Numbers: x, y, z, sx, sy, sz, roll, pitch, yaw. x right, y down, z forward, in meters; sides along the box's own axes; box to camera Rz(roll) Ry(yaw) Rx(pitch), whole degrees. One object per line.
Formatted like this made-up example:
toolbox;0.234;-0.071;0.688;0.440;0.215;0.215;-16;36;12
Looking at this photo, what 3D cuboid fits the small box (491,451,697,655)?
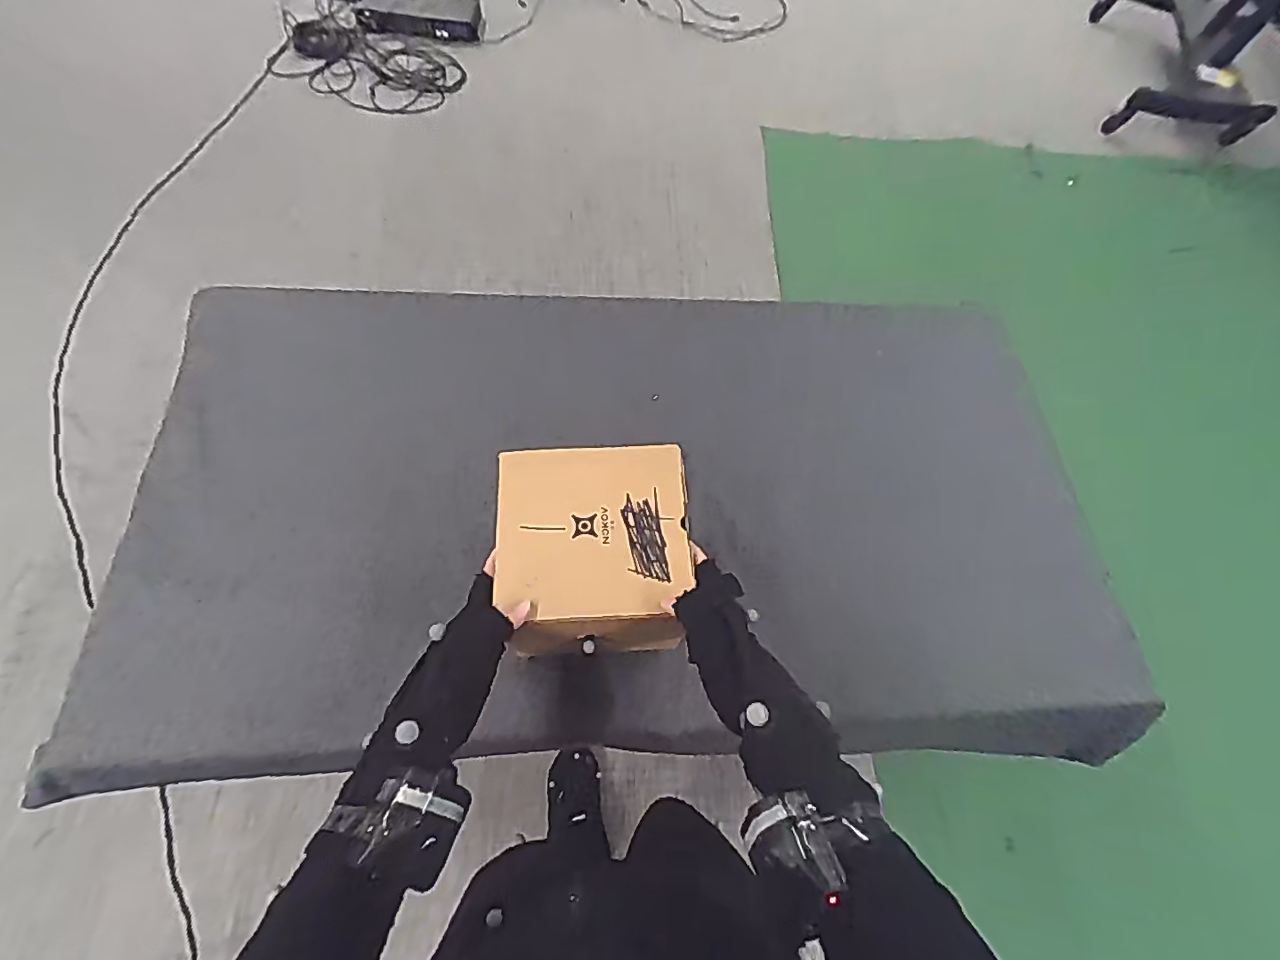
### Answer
small box;-0.047;0.082;0.560;0.179;0.176;0.168;-2;63;-4
